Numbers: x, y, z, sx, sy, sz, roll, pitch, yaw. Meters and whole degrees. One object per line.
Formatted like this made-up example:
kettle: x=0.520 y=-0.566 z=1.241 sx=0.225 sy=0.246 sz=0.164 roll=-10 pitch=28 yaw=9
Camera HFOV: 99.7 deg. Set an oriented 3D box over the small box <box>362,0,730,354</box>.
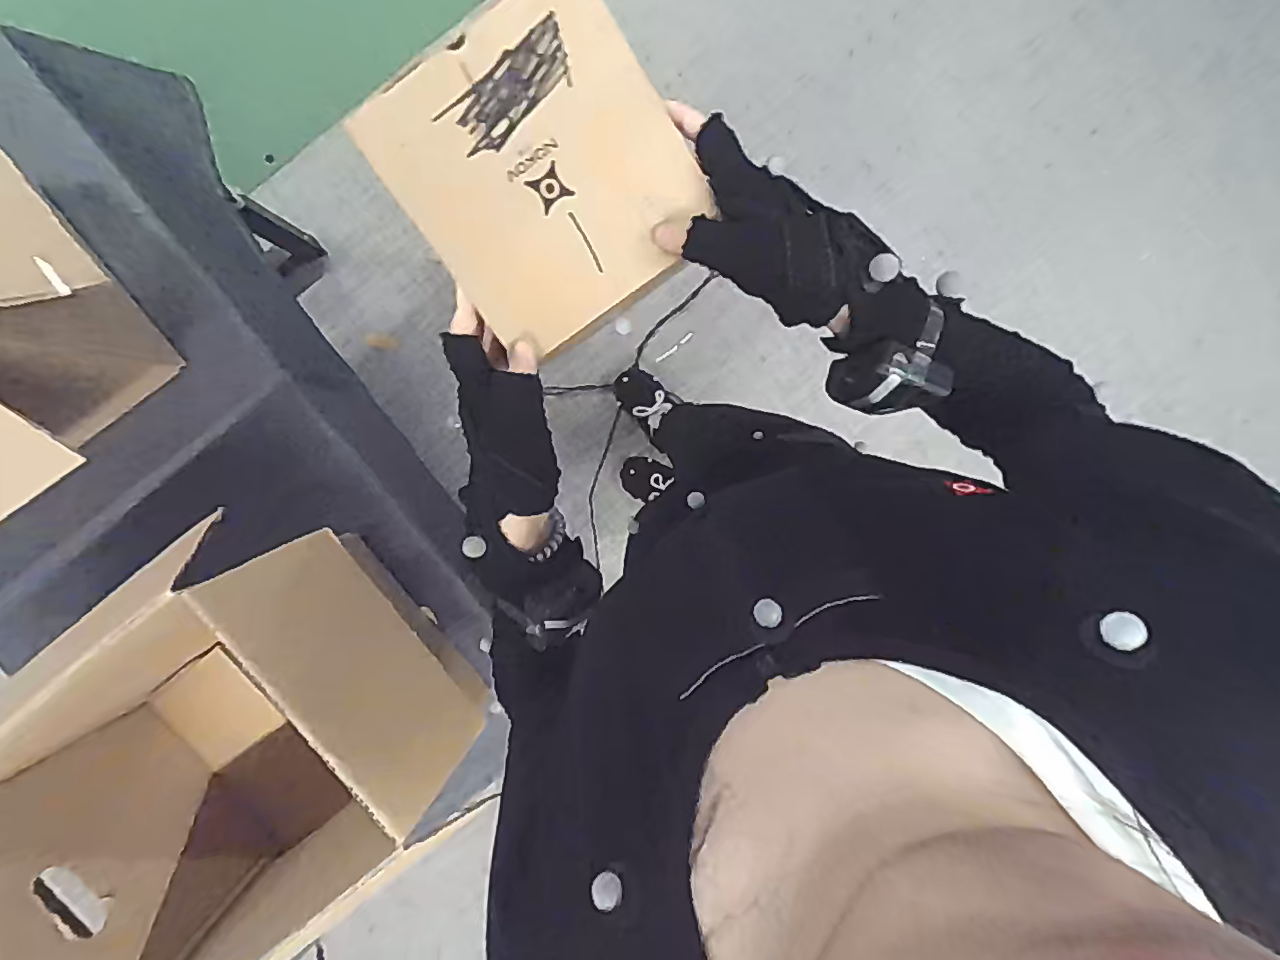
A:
small box: x=-0.060 y=-0.210 z=0.412 sx=0.168 sy=0.176 sz=0.179 roll=-33 pitch=103 yaw=4
